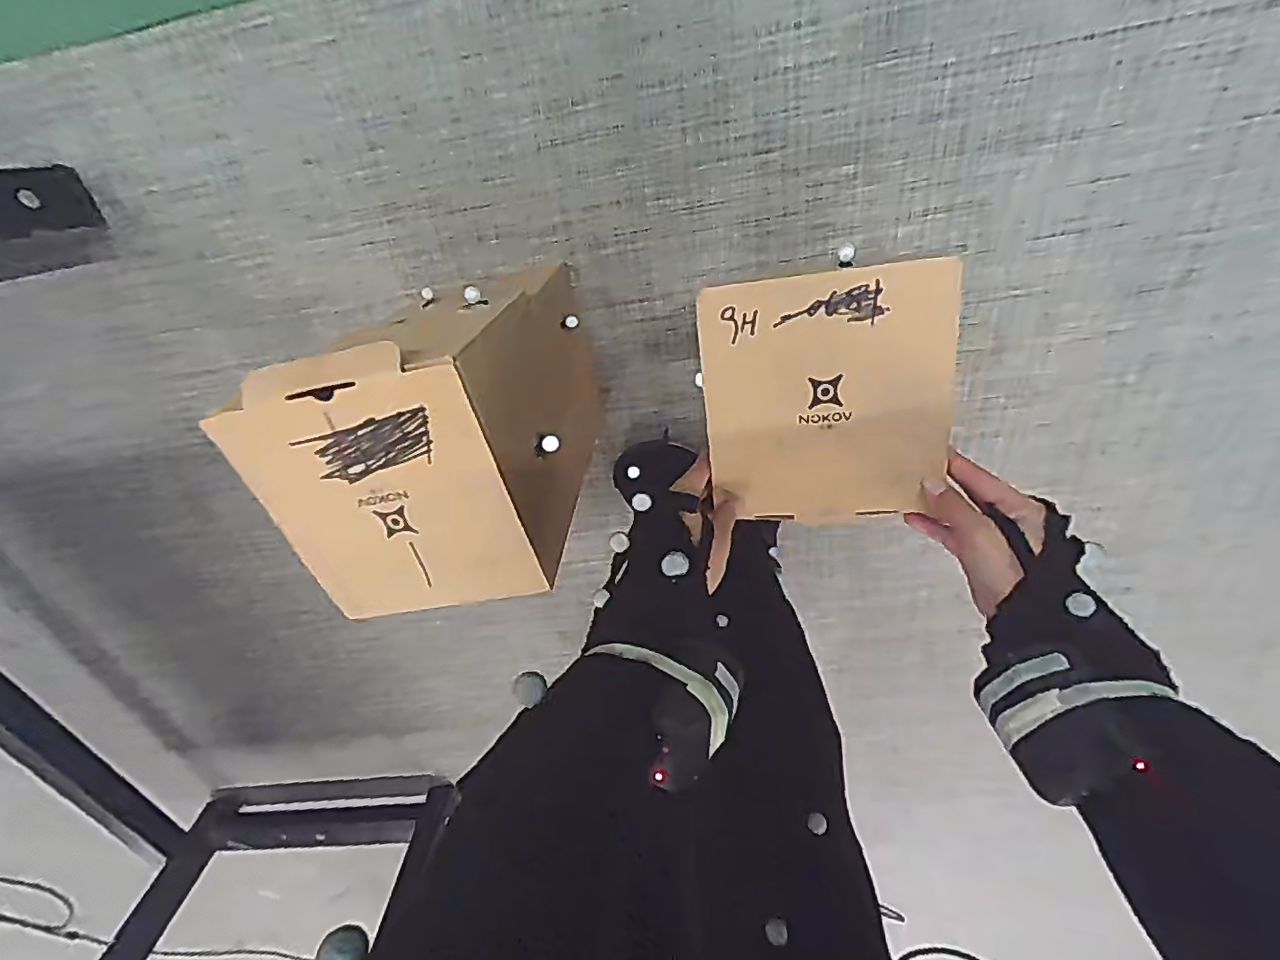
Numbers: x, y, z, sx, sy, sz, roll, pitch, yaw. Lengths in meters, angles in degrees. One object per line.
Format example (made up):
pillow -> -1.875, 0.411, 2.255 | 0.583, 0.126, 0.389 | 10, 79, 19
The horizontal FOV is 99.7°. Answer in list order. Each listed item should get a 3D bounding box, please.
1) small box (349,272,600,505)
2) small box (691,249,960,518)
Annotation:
small box -> -0.146, -0.102, 0.553 | 0.168, 0.176, 0.179 | -10, 121, 10
small box -> 0.135, -0.085, 0.444 | 0.168, 0.176, 0.179 | -3, 113, 11
